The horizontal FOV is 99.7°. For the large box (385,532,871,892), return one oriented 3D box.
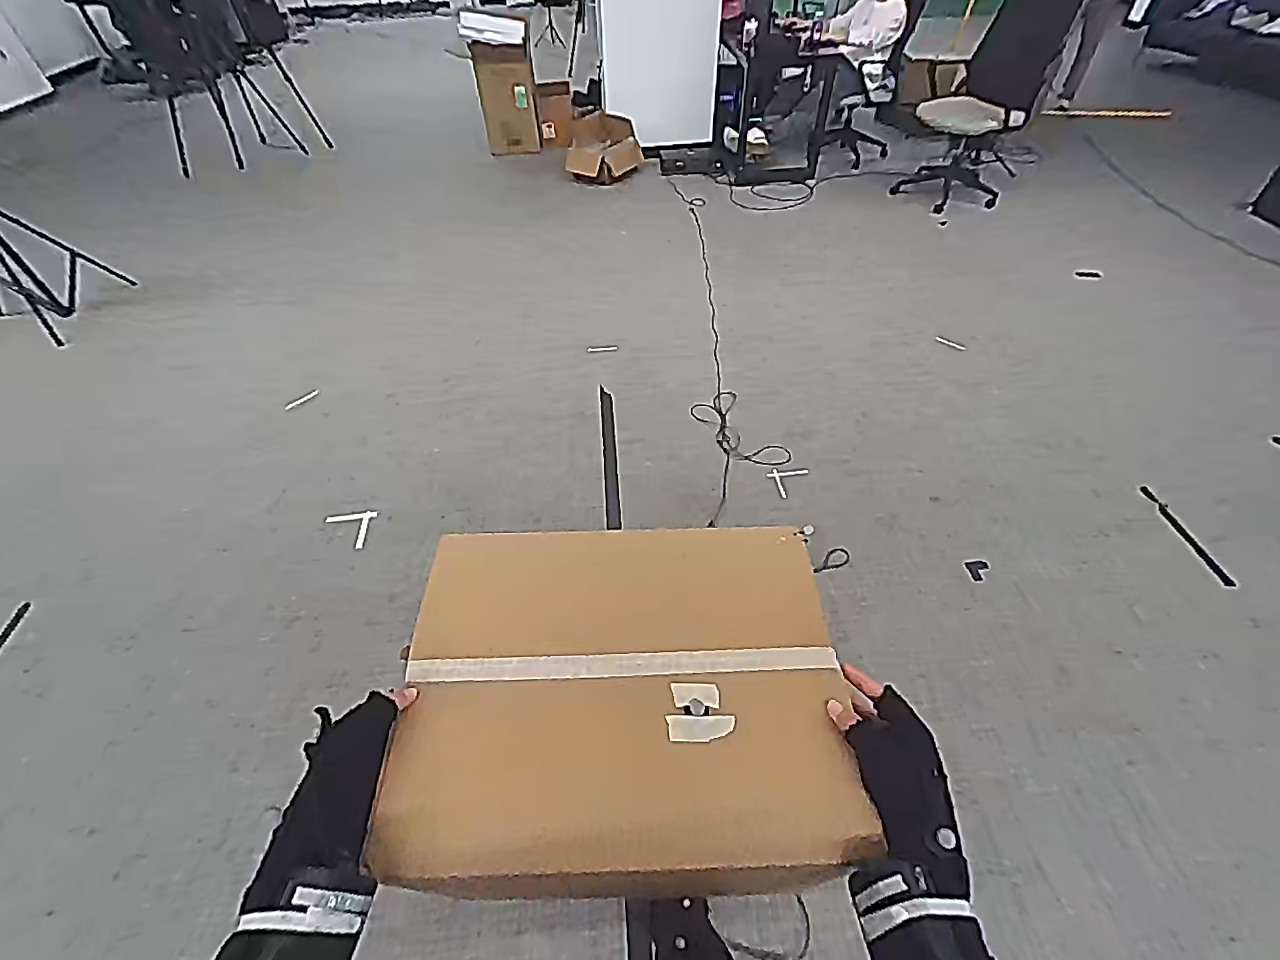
[{"bbox_3d":[-0.014,0.278,0.643,0.408,0.320,0.320,-1,50,-1],"label":"large box"}]
